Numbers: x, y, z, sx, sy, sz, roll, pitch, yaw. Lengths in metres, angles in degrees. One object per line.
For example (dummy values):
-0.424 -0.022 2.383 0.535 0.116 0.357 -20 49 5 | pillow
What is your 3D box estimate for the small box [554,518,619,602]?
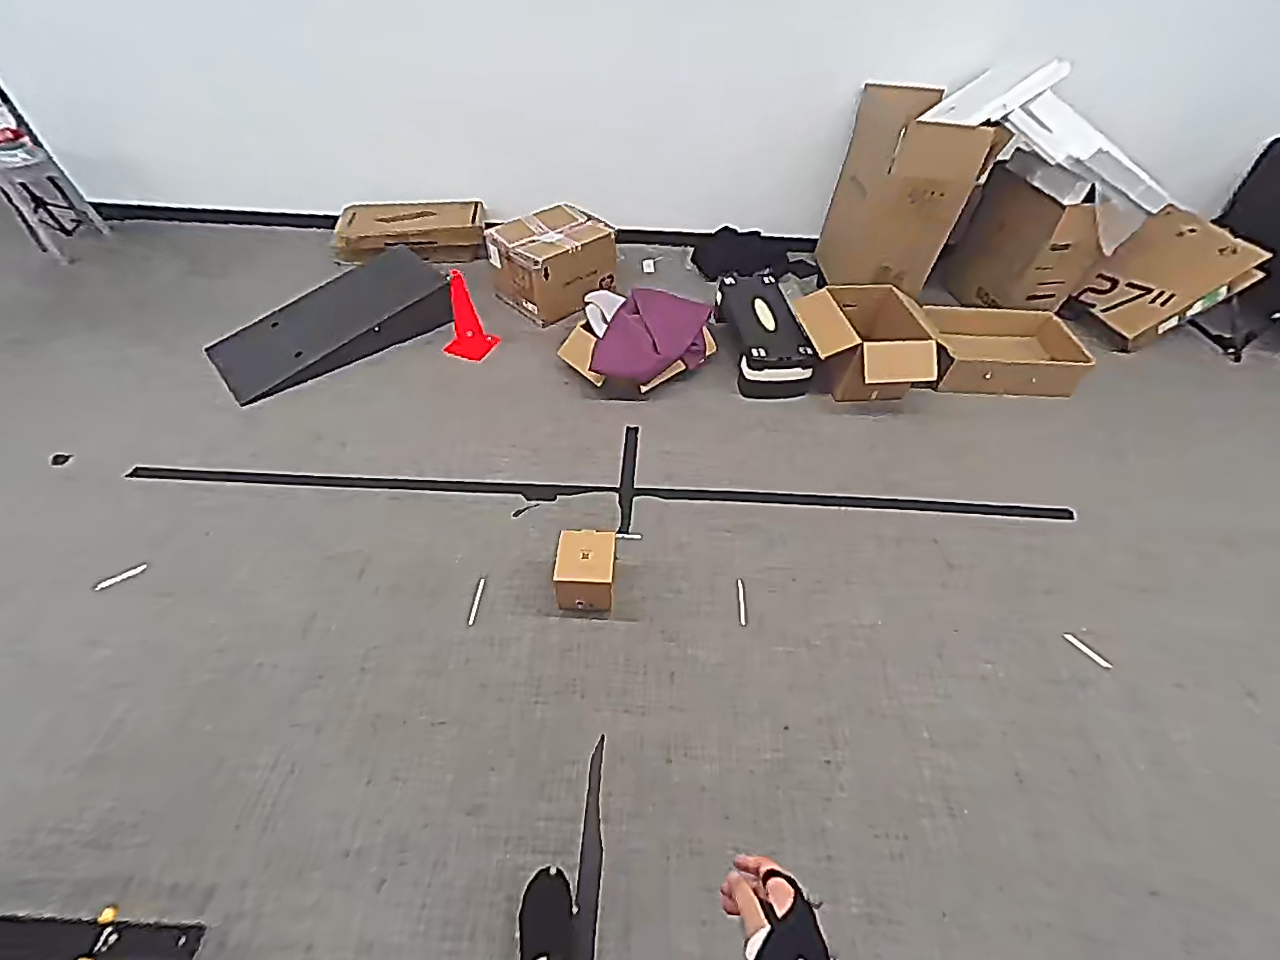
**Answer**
-0.145 0.227 1.535 0.168 0.176 0.179 1 50 0 | small box
